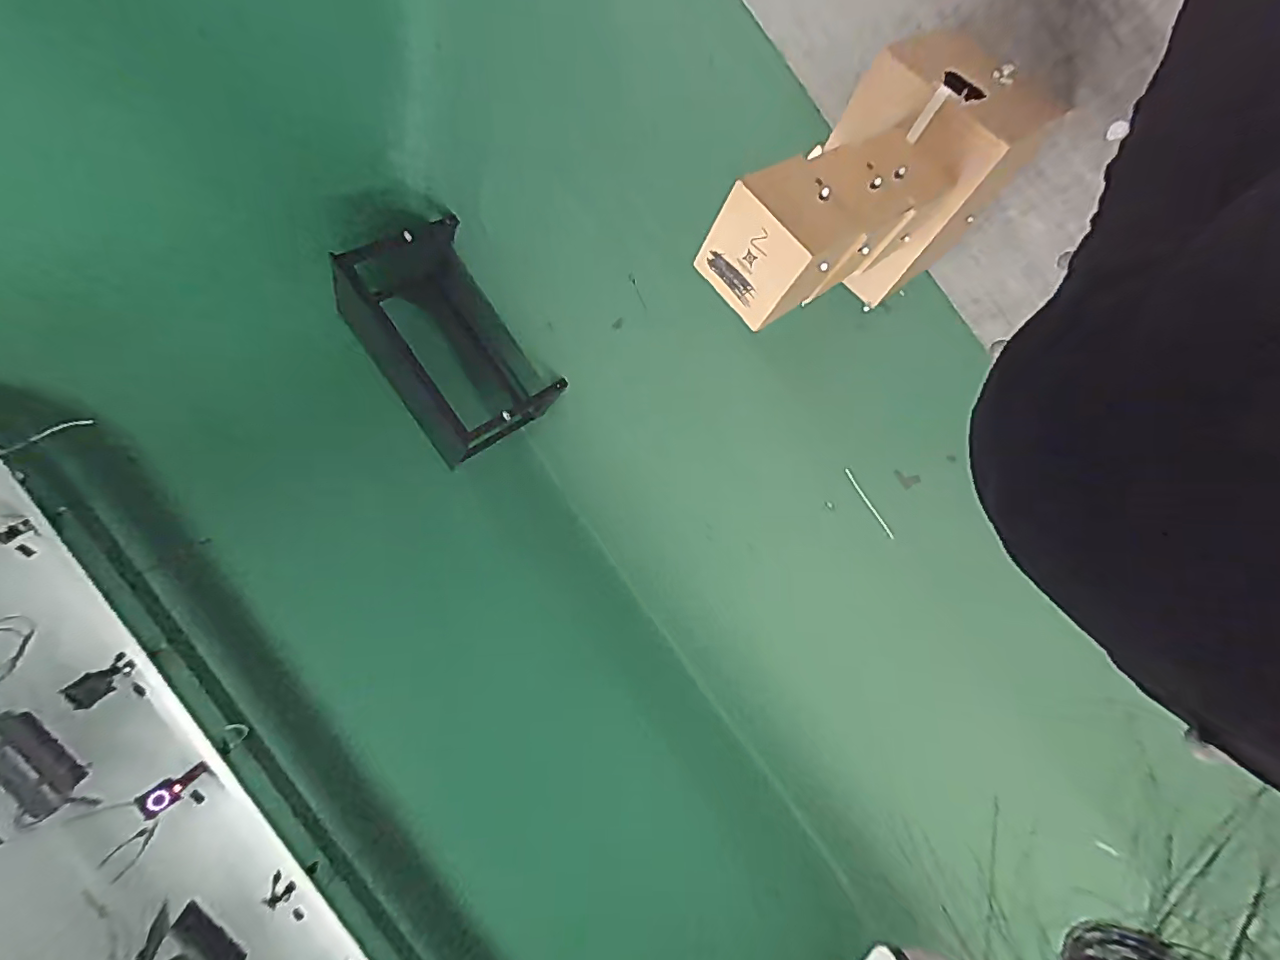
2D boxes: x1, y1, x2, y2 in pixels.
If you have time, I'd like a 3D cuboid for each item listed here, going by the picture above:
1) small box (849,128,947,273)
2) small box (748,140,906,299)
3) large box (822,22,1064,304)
[{"bbox_3d":[0.455,-0.550,1.060,0.179,0.176,0.168,50,151,6],"label":"small box"},{"bbox_3d":[0.338,-0.471,0.981,0.168,0.176,0.179,50,151,5],"label":"small box"},{"bbox_3d":[0.601,-0.691,1.204,0.320,0.320,0.408,48,153,12],"label":"large box"}]
